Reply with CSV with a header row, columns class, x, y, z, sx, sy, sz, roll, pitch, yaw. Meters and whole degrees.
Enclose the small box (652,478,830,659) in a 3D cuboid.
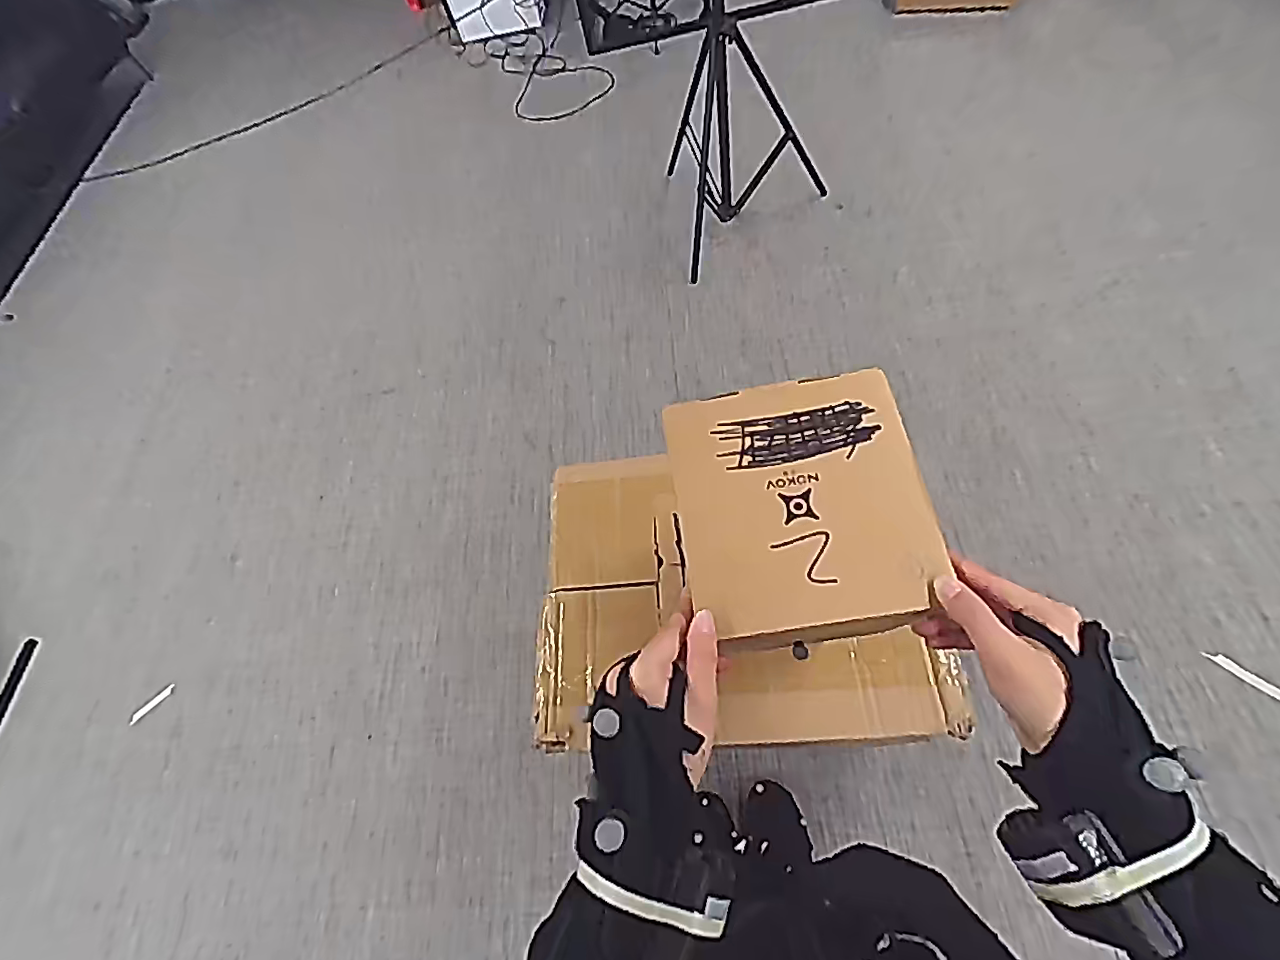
class,x,y,z,sx,sy,sz,roll,pitch,yaw
small box,0.115,0.115,0.645,0.179,0.176,0.168,-6,63,8
